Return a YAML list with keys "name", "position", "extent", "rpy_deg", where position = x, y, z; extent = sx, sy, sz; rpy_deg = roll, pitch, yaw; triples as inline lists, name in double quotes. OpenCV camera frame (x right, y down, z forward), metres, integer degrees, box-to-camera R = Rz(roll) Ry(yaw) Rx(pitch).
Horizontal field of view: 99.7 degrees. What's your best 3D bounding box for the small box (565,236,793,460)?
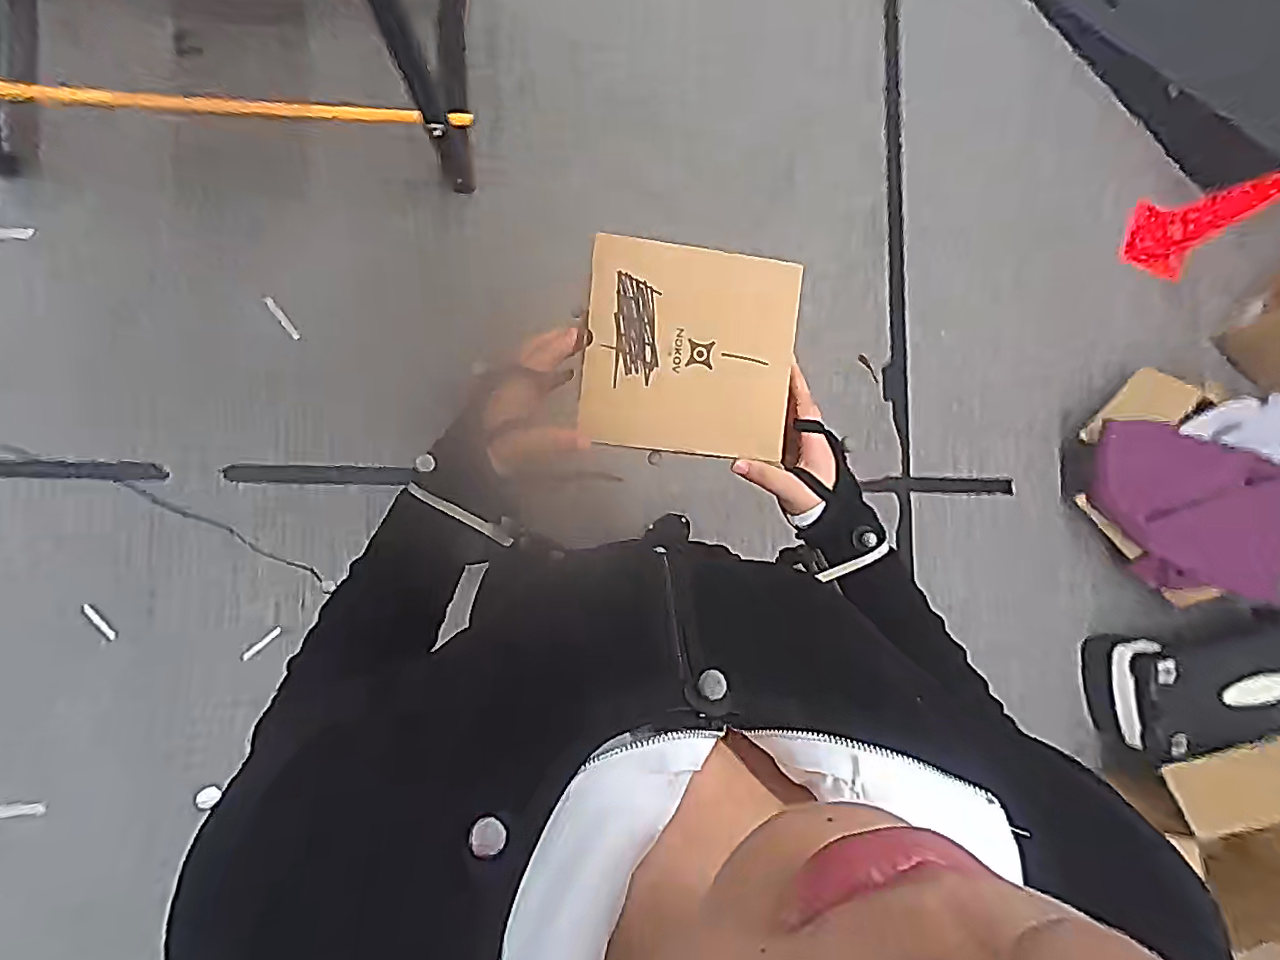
- name: "small box"
  position: [0.024, -0.109, 0.517]
  extent: [0.179, 0.176, 0.168]
  rpy_deg: [5, 93, -8]
